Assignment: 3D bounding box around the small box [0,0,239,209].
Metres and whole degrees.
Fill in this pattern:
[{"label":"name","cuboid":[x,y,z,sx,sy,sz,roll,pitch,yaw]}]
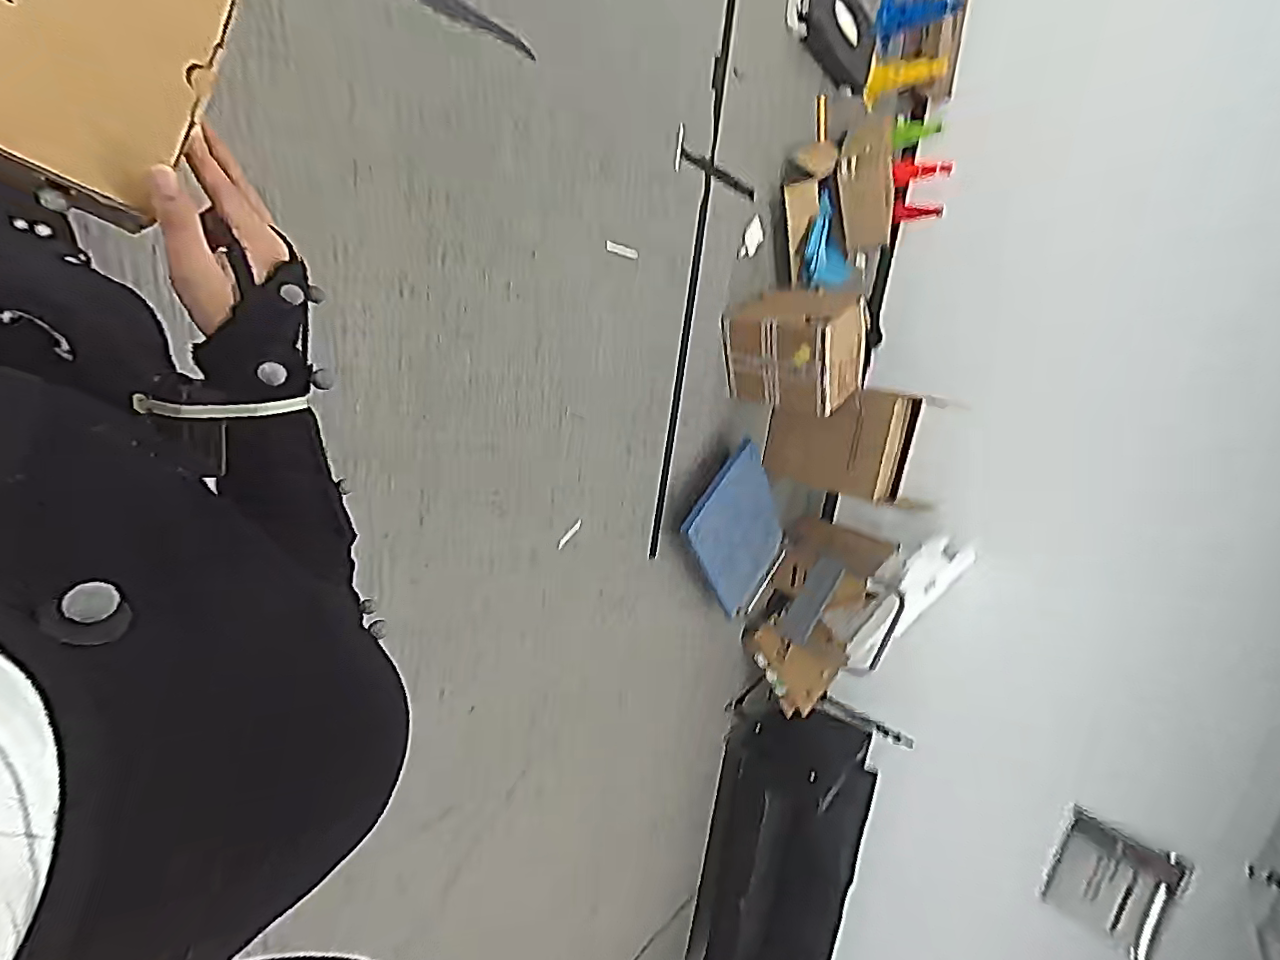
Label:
[{"label":"small box","cuboid":[-0.349,-0.268,0.290,0.179,0.176,0.168,19,91,-49]}]
